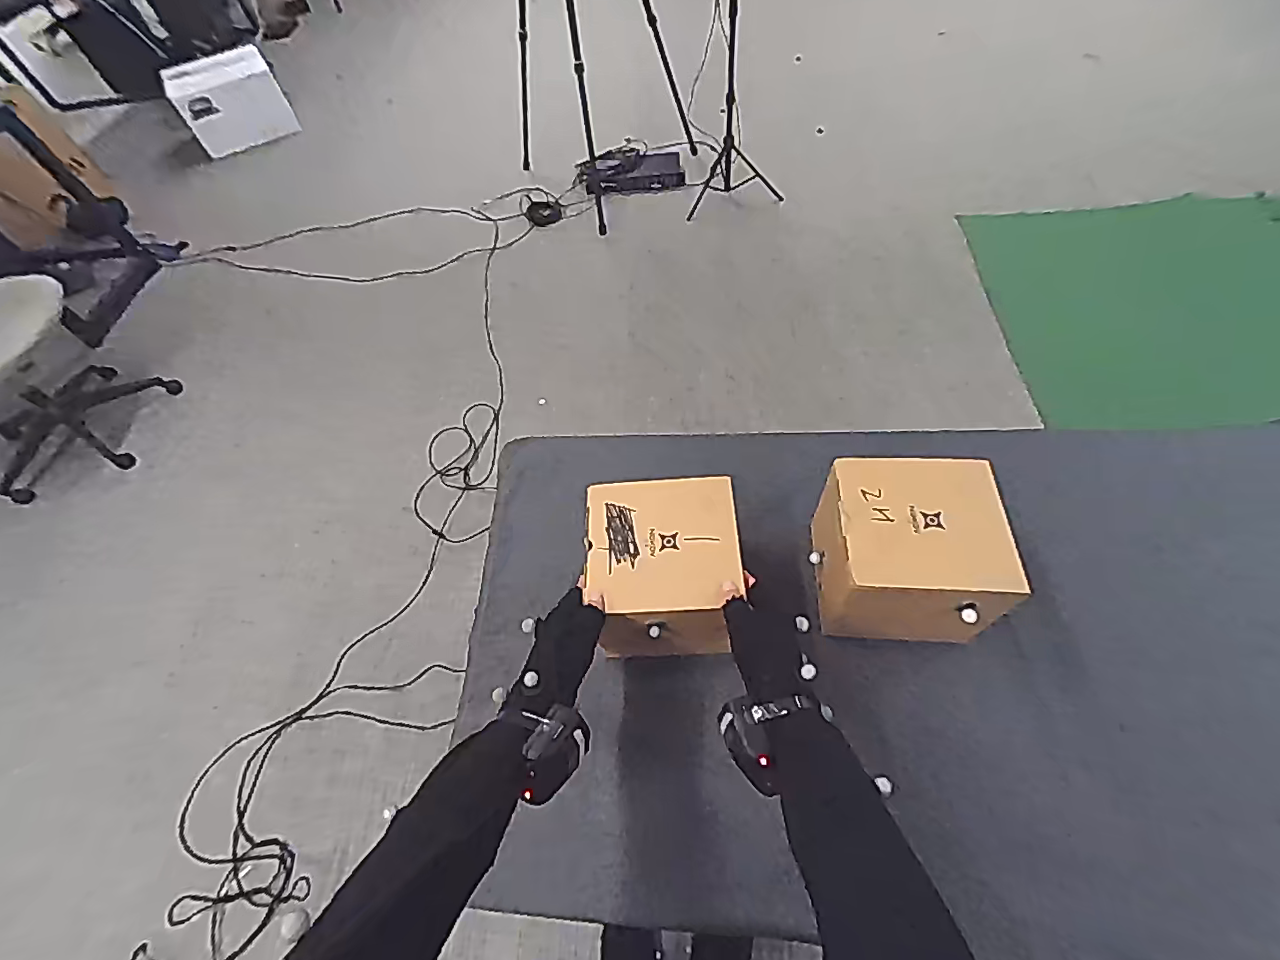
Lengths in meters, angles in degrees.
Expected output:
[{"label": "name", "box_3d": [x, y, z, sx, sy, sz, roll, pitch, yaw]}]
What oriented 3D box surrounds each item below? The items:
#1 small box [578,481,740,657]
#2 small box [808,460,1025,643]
[{"label": "small box", "box_3d": [0.027, 0.117, 0.677, 0.179, 0.176, 0.168, -3, 57, 4]}, {"label": "small box", "box_3d": [0.314, 0.092, 0.658, 0.179, 0.176, 0.168, 1, 57, 7]}]
